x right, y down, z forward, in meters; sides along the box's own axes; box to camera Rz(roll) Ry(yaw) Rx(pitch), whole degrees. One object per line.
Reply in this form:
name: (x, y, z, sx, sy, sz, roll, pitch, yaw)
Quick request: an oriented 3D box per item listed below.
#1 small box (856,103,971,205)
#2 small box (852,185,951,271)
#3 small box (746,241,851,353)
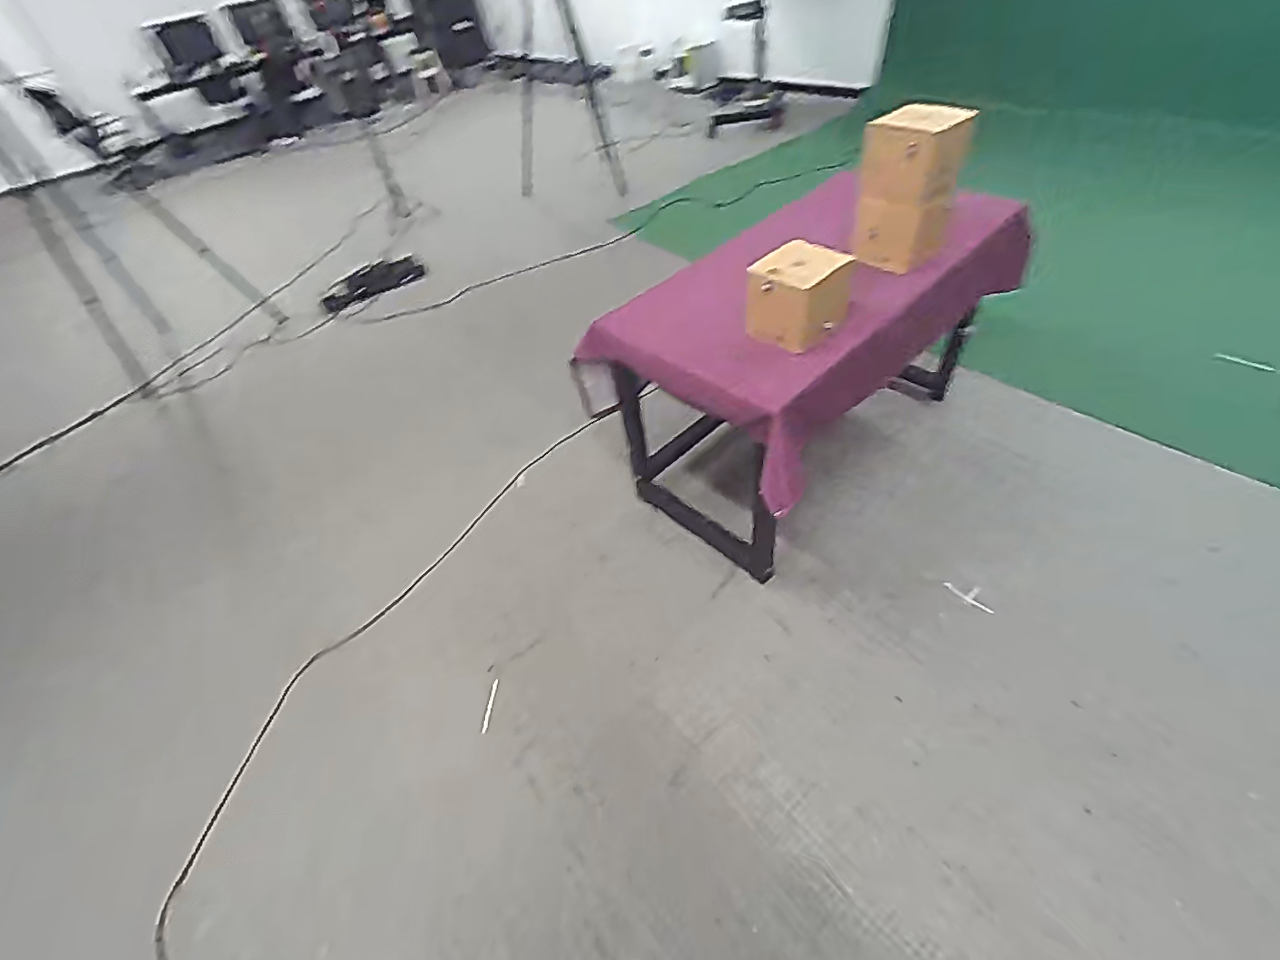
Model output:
small box: (0.663, -0.799, 1.330, 0.168, 0.176, 0.179, -34, 50, -21)
small box: (0.689, -0.685, 1.446, 0.179, 0.176, 0.168, -36, 51, -22)
small box: (0.362, -0.428, 1.266, 0.179, 0.176, 0.168, -37, 51, -23)
